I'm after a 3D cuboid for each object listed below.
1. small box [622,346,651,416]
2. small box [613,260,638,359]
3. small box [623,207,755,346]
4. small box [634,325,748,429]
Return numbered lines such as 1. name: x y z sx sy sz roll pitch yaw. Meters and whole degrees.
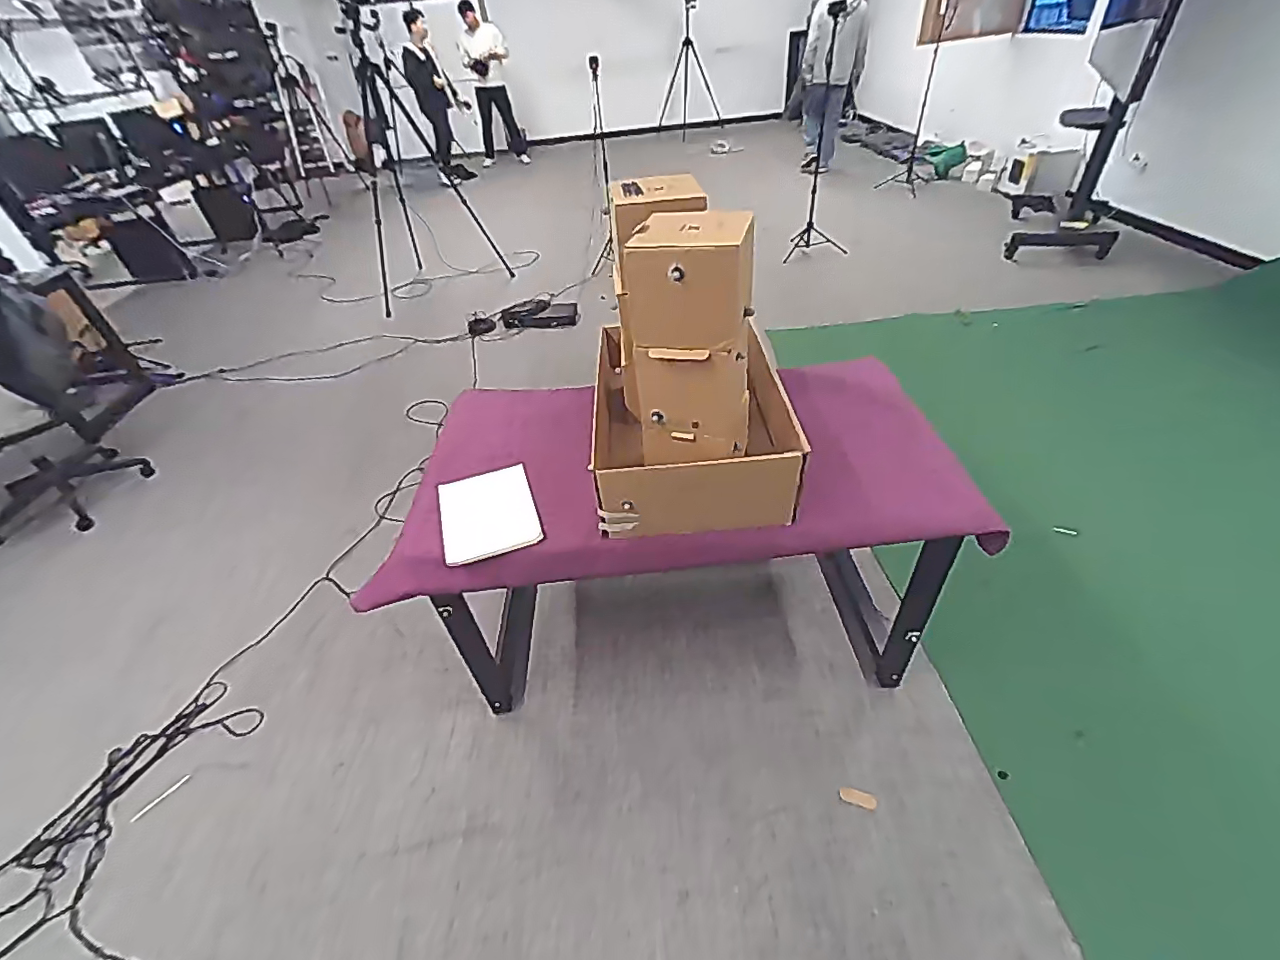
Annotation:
1. small box: 0.047 -0.267 1.316 0.168 0.176 0.179 -5 43 2
2. small box: 0.039 -0.384 1.205 0.179 0.176 0.168 -6 43 0
3. small box: 0.088 -0.330 0.882 0.179 0.176 0.168 7 43 17
4. small box: 0.103 -0.210 0.991 0.168 0.176 0.179 8 42 19
